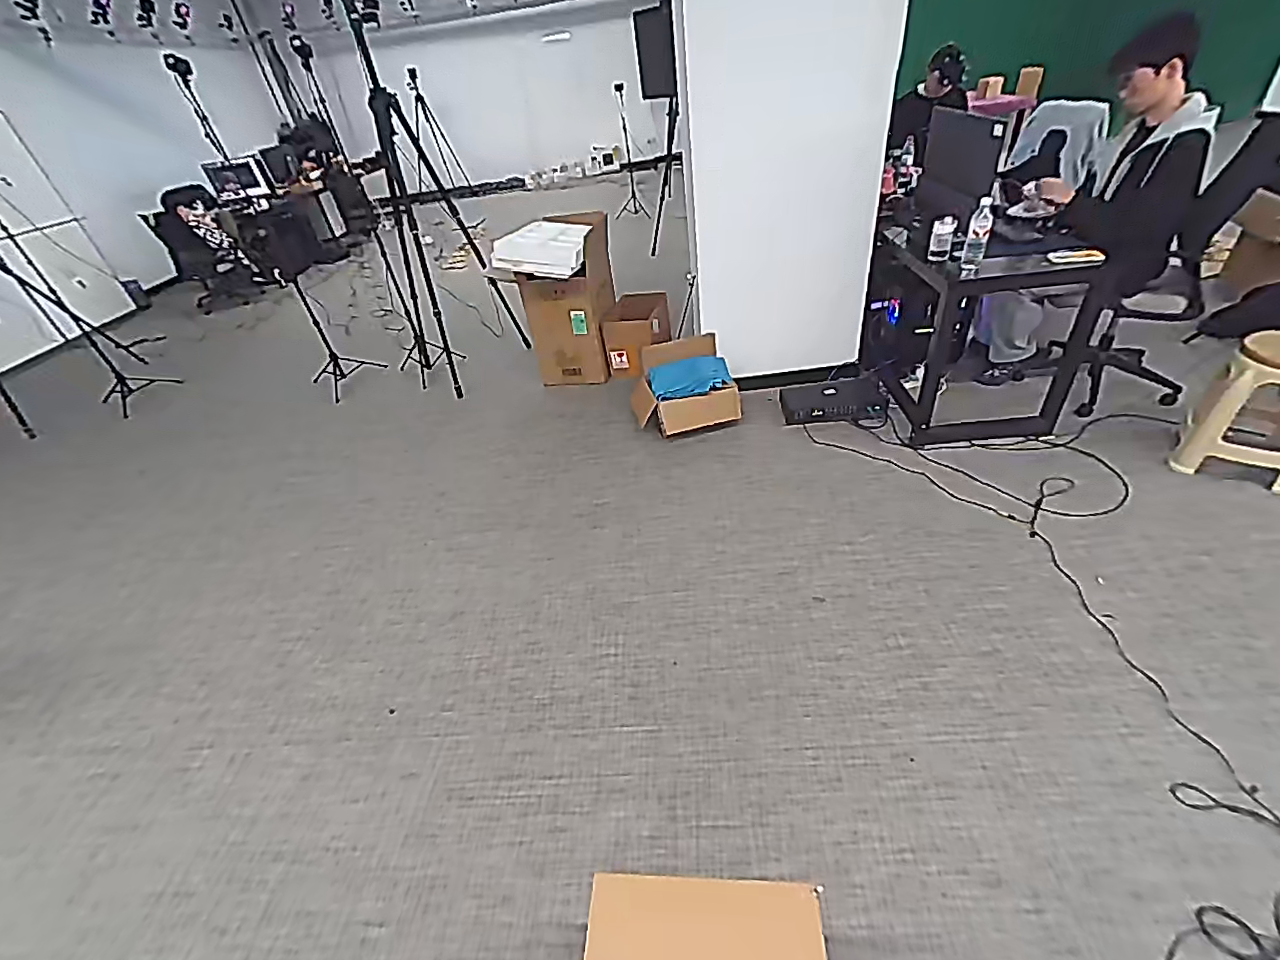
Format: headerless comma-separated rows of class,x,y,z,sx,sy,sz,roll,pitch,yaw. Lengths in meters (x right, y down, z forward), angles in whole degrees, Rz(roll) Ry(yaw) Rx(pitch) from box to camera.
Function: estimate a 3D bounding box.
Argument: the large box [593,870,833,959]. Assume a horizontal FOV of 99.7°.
large box,0.131,0.935,0.961,0.408,0.320,0.320,-3,38,8
